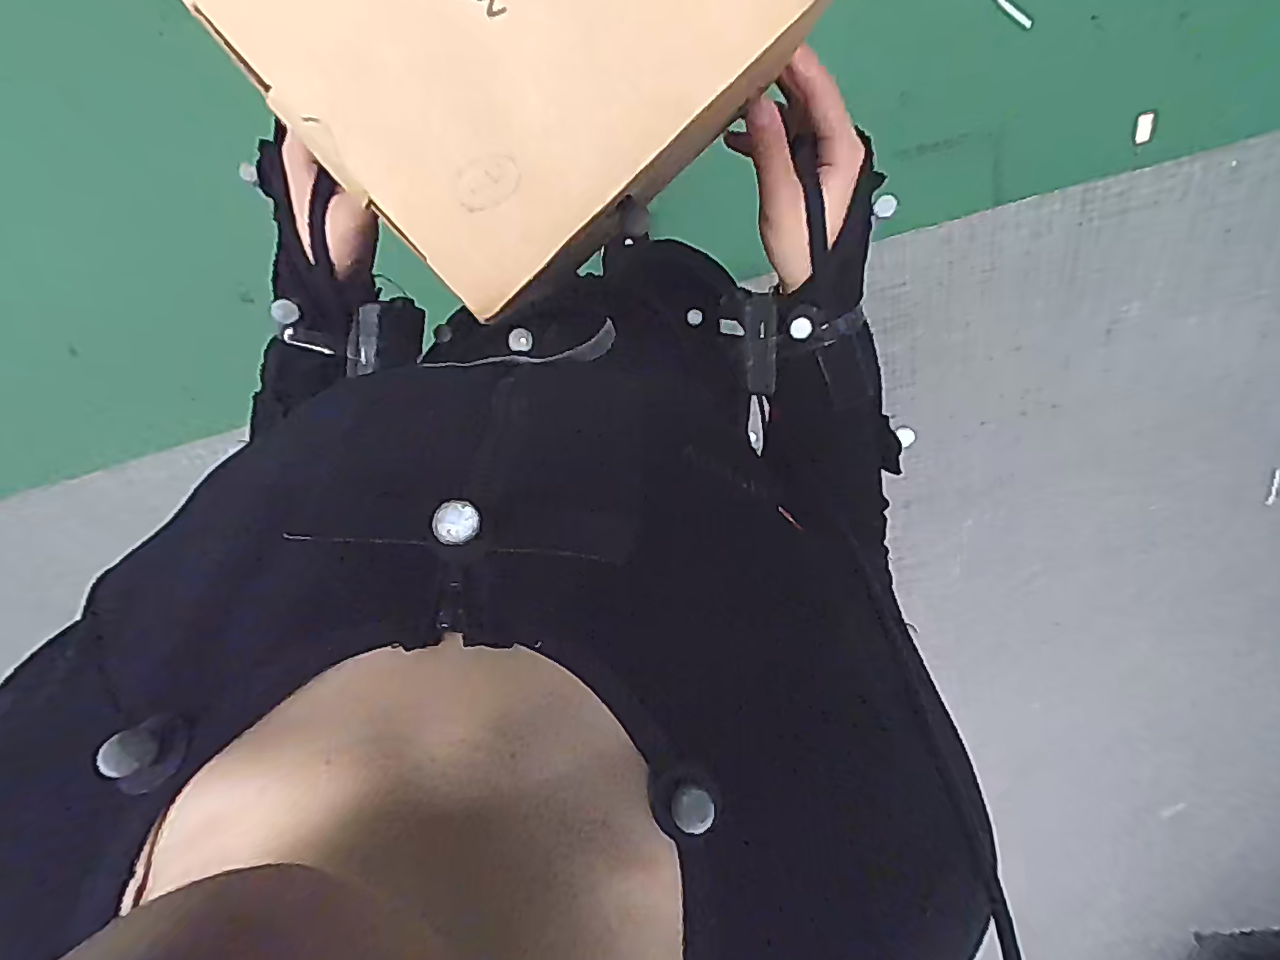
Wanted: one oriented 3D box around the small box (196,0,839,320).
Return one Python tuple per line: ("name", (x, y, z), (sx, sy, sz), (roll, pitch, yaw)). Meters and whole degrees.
("small box", (-0.042, -0.201, 0.246), (0.179, 0.176, 0.168), (-37, 107, 17))
